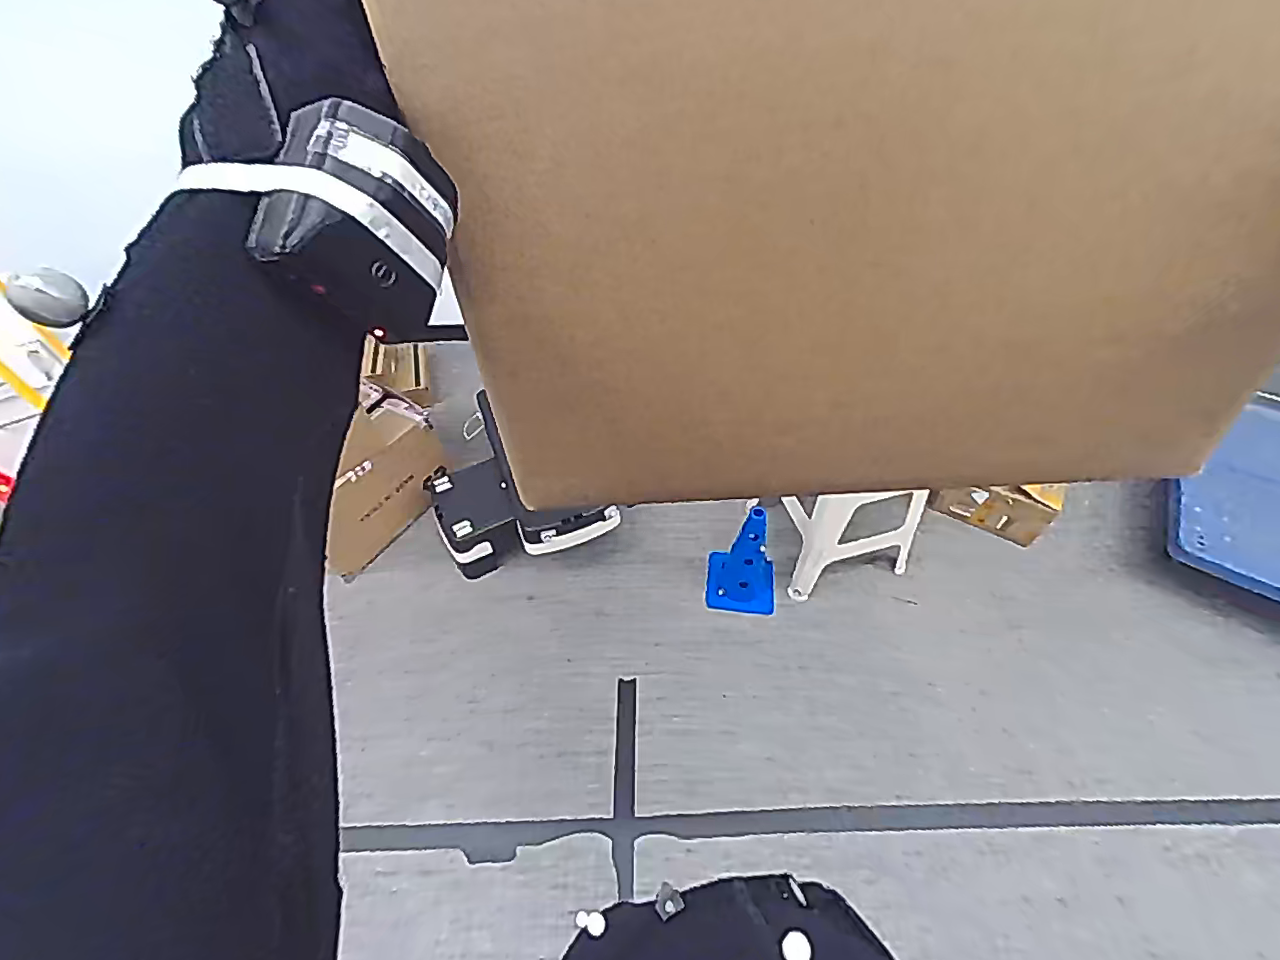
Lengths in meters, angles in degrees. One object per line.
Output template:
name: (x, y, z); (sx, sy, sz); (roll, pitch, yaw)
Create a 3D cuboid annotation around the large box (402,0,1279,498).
large box: (0.114, -0.206, 0.364); (0.408, 0.320, 0.320); (-3, 40, 4)
